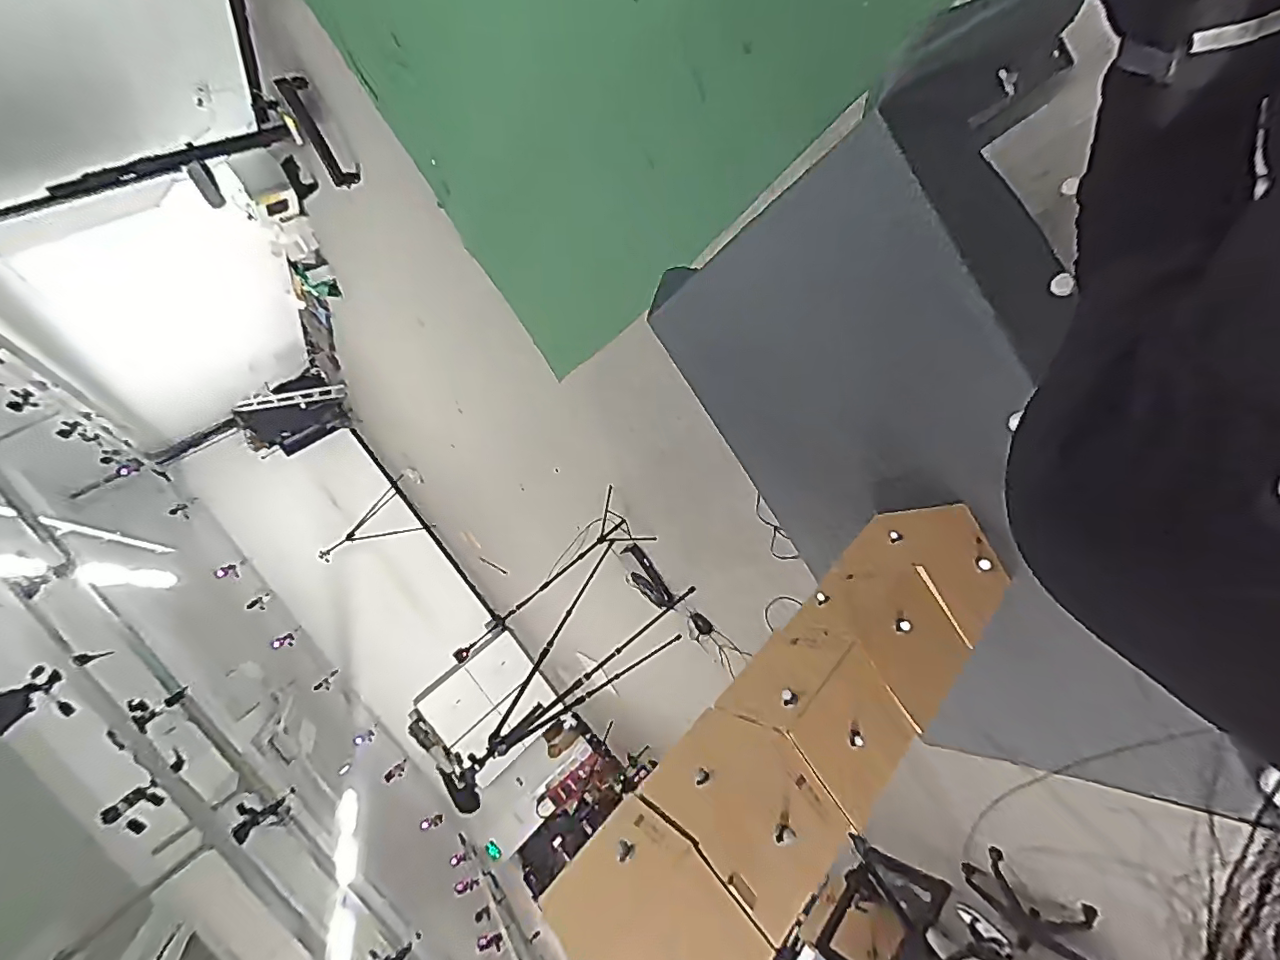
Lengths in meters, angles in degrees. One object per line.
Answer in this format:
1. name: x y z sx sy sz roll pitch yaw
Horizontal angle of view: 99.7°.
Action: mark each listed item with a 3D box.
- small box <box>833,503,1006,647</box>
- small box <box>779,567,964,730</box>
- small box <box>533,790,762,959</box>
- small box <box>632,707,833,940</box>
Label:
1. small box: 0.475 0.157 0.922 0.168 0.176 0.179 56 151 -8
2. small box: 0.362 0.248 0.848 0.179 0.176 0.168 55 153 -6
3. small box: 0.009 0.517 0.635 0.179 0.176 0.168 56 153 -7
4. small box: 0.125 0.430 0.715 0.168 0.176 0.179 56 152 -6
